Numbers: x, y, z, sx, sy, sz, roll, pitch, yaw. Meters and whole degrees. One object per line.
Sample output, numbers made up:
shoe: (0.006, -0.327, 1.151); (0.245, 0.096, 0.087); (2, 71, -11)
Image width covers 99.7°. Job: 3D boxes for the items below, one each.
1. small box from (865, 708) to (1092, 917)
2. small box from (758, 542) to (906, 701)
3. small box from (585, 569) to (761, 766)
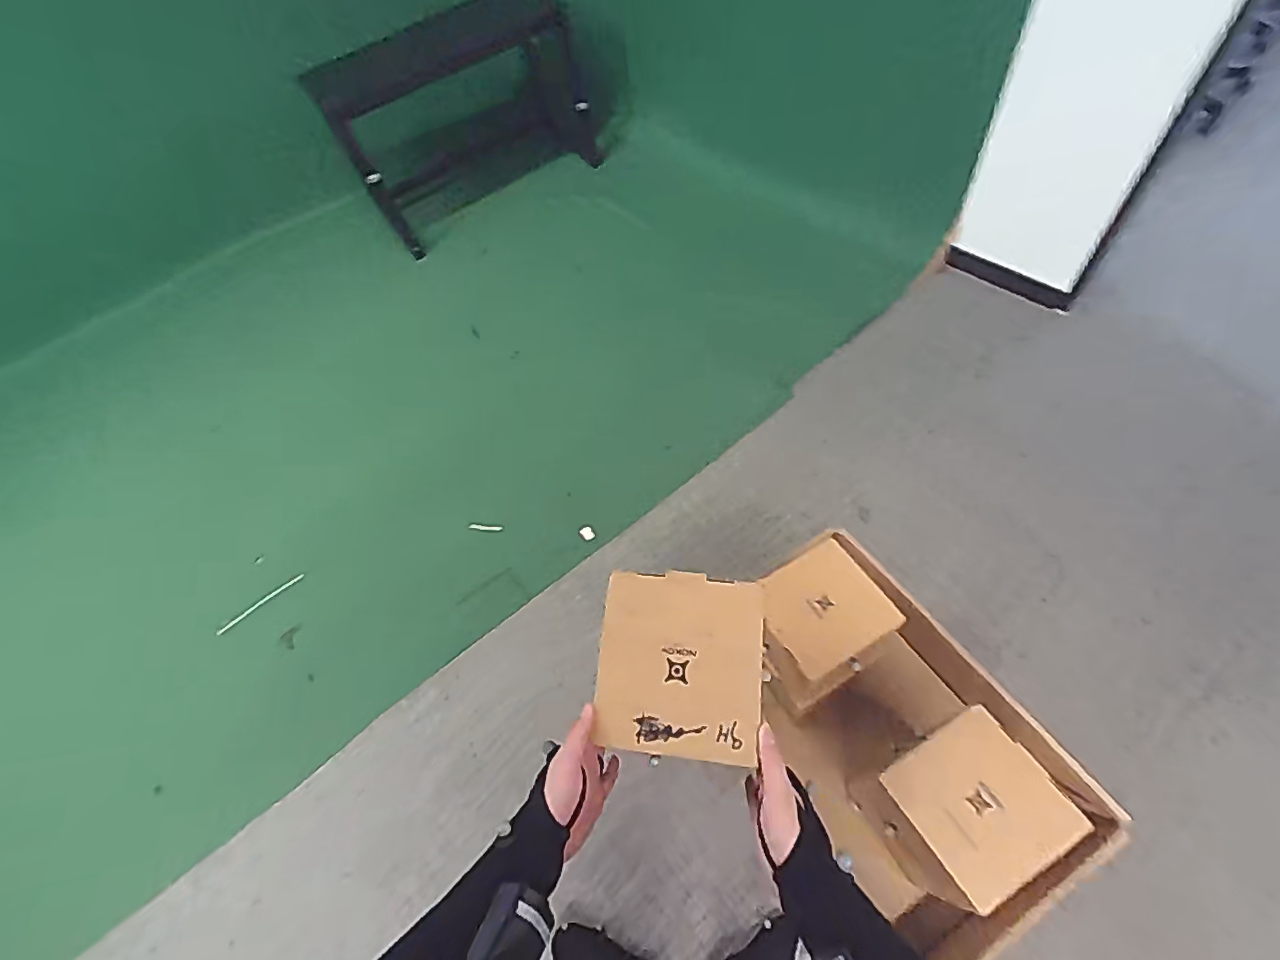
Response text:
small box: (0.434, 0.441, 0.732); (0.179, 0.176, 0.168); (-30, 56, -8)
small box: (0.294, 0.237, 0.893); (0.179, 0.176, 0.168); (-29, 57, -8)
small box: (0.046, 0.211, 0.619); (0.168, 0.176, 0.179); (3, 69, 10)
